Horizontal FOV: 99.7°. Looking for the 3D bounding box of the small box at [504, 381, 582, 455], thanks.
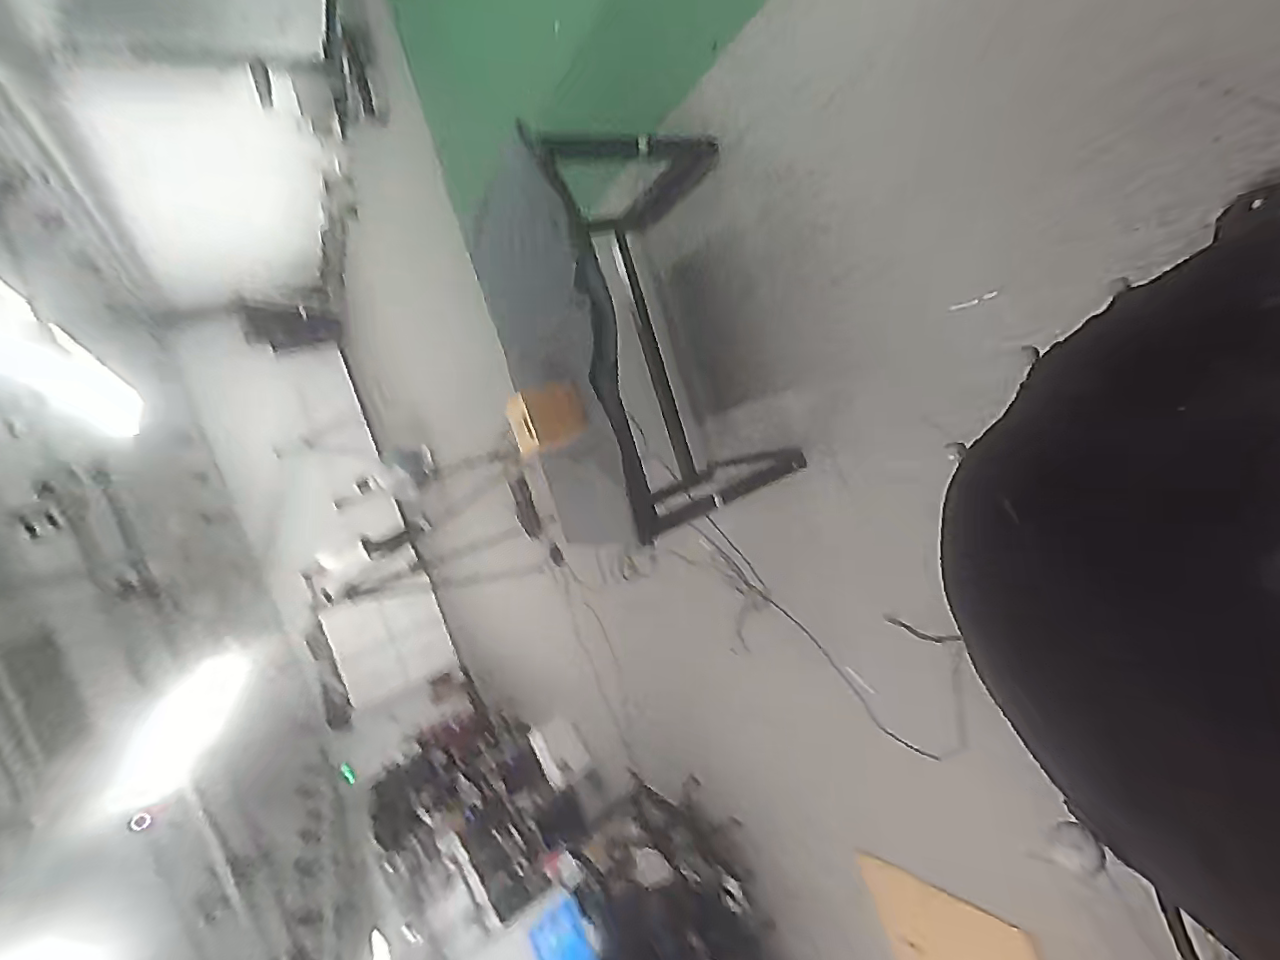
[{"bbox_3d":[-0.294,-0.192,1.669,0.179,0.176,0.168,-17,93,60],"label":"small box"}]
